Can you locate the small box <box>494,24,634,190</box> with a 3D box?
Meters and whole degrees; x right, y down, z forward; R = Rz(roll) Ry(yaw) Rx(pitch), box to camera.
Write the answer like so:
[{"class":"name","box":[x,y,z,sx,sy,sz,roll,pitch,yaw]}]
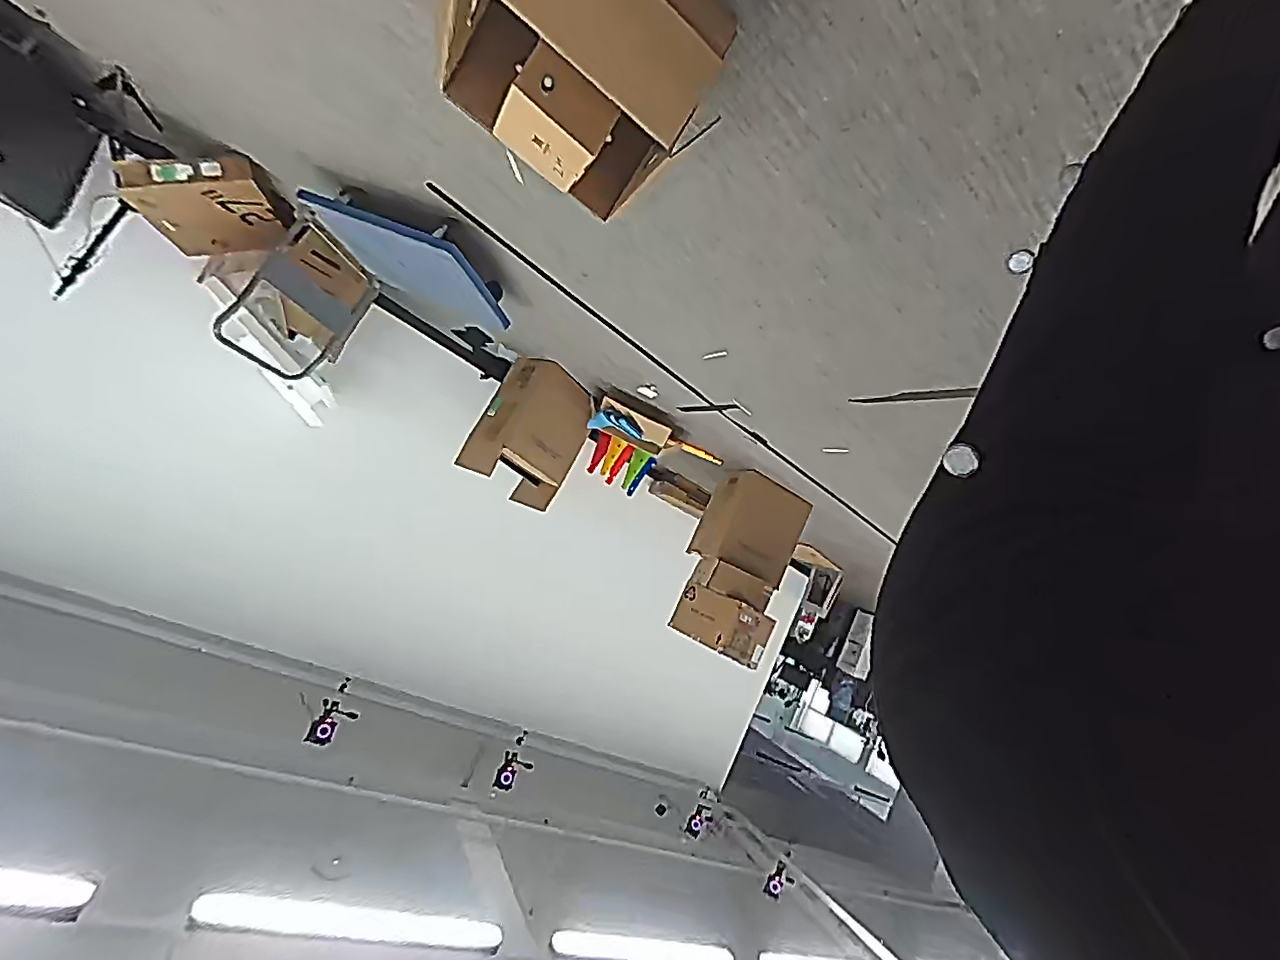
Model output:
[{"class":"small box","box":[-0.144,-0.706,1.027,0.179,0.176,0.168,32,170,-25]}]
